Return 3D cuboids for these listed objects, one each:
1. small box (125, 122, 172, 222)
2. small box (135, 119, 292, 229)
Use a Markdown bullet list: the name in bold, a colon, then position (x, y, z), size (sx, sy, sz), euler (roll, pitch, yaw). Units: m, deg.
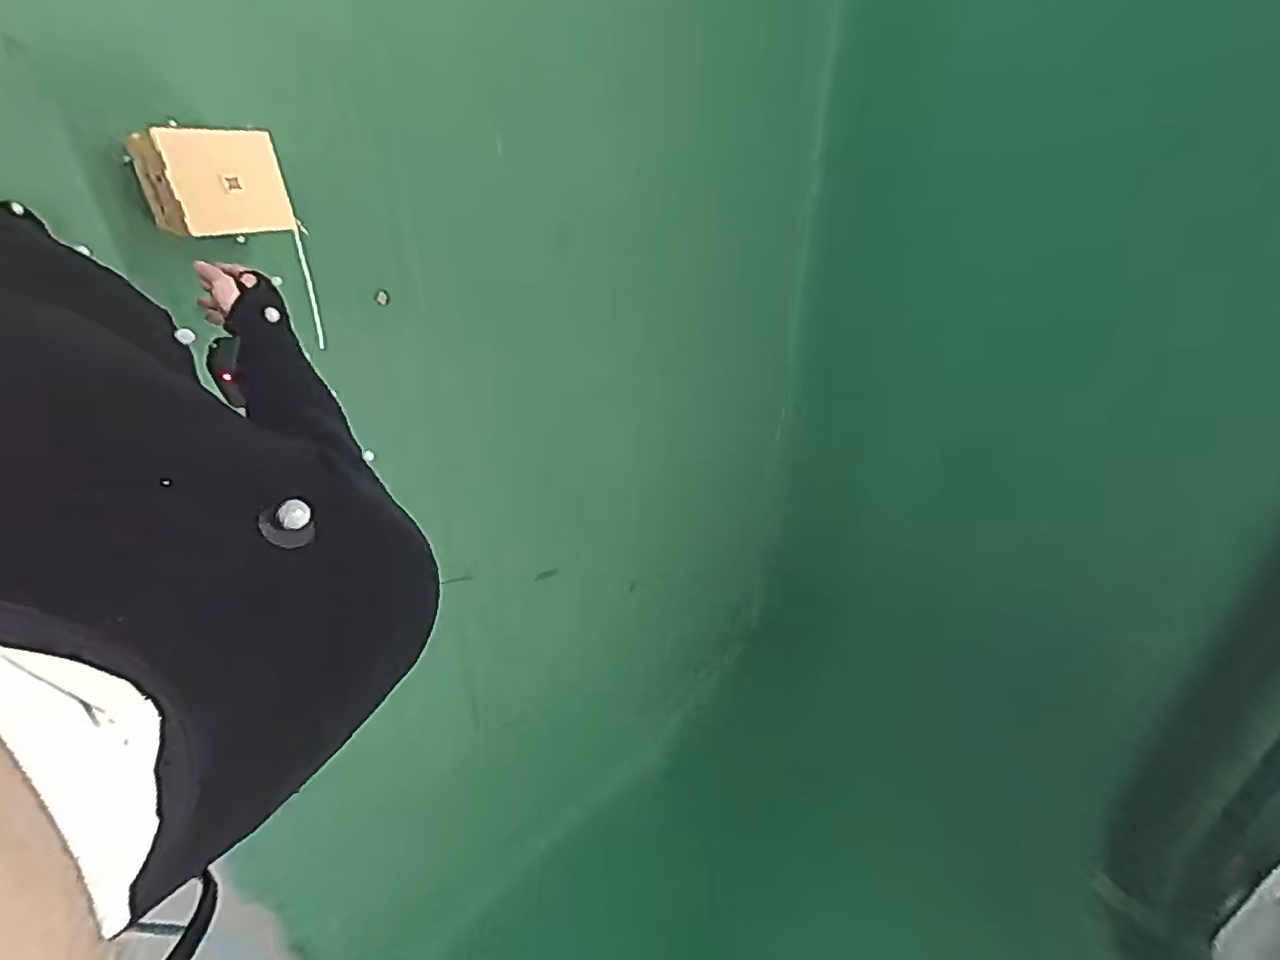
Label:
- **small box**: position (-0.919, -0.625, 1.114), size (0.179, 0.176, 0.168), euler (-26, 127, -39)
- **small box**: position (-0.799, -0.572, 1.017), size (0.179, 0.176, 0.168), euler (-26, 128, -37)
